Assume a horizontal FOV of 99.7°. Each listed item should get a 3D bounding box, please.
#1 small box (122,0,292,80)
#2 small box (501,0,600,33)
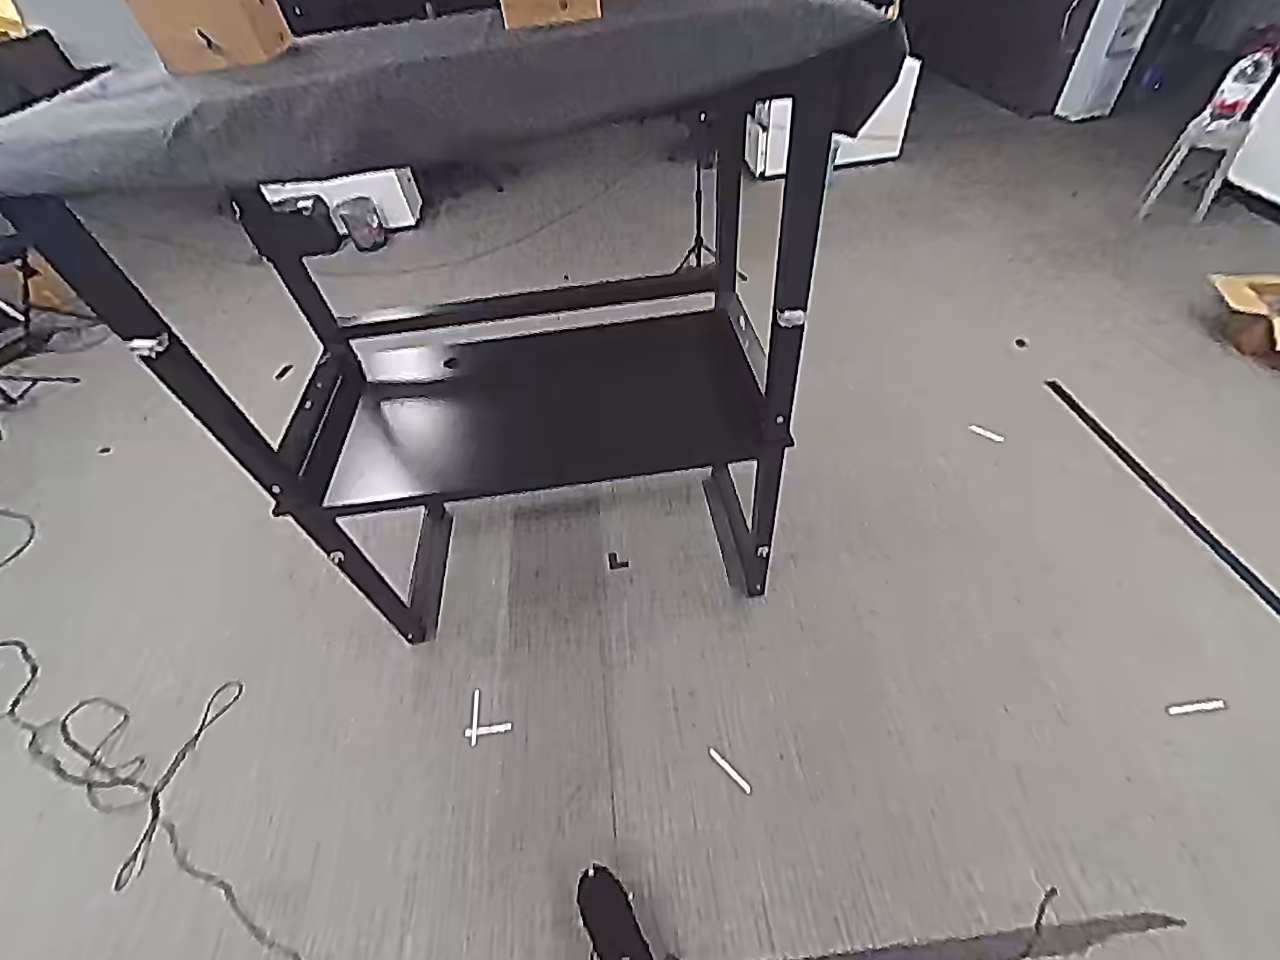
[{"bbox_3d":[-0.736,-0.807,0.918,0.179,0.176,0.168,-9,48,-3],"label":"small box"},{"bbox_3d":[-0.166,-0.898,0.934,0.168,0.176,0.179,-9,48,-1],"label":"small box"}]
